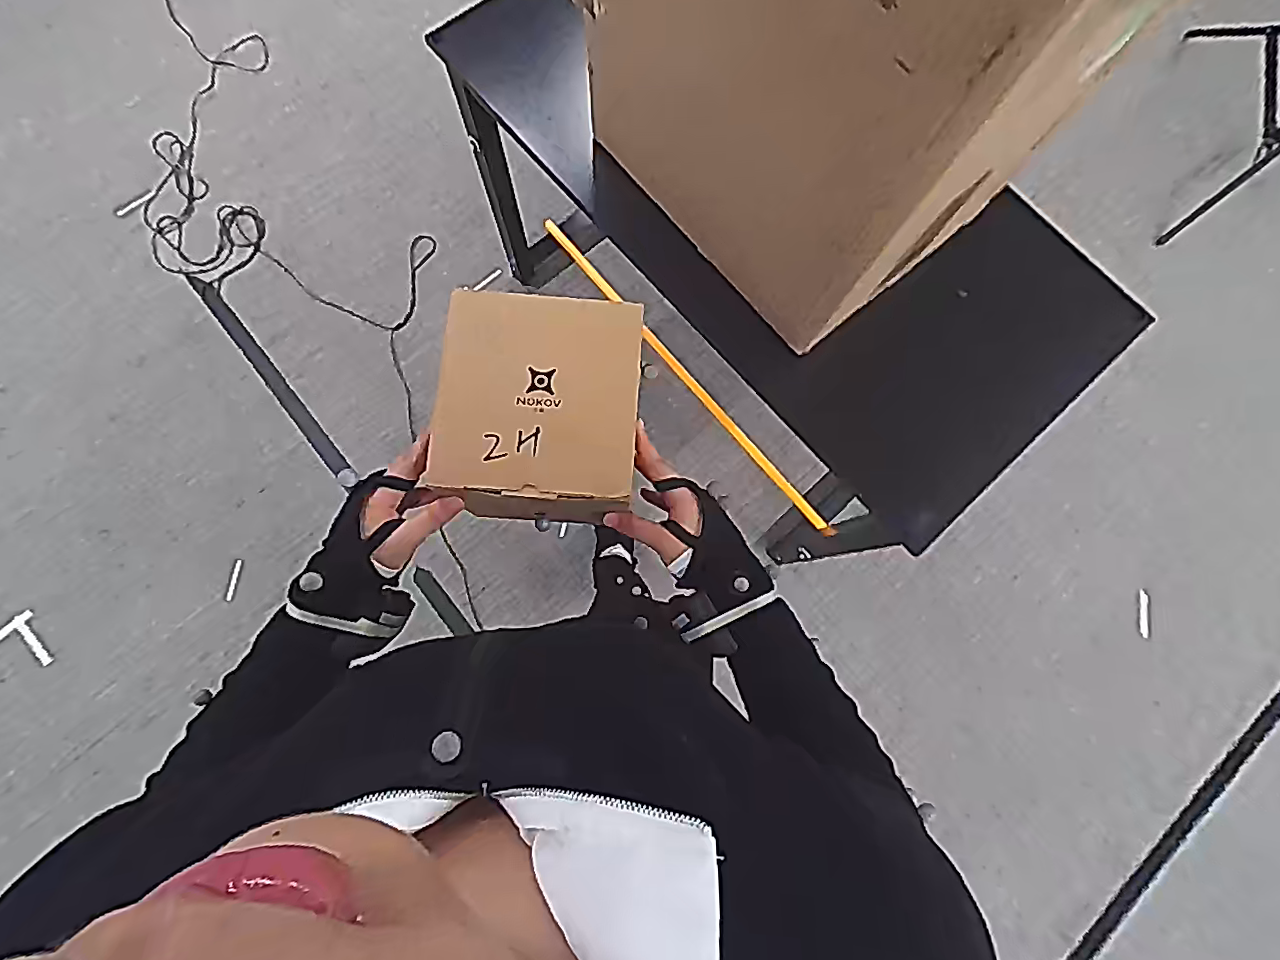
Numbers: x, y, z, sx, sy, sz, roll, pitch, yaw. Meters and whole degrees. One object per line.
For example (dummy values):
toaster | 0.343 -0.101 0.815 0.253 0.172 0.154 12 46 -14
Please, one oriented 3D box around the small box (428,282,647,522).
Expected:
small box | -0.085 -0.062 0.524 0.168 0.176 0.179 4 77 -2
